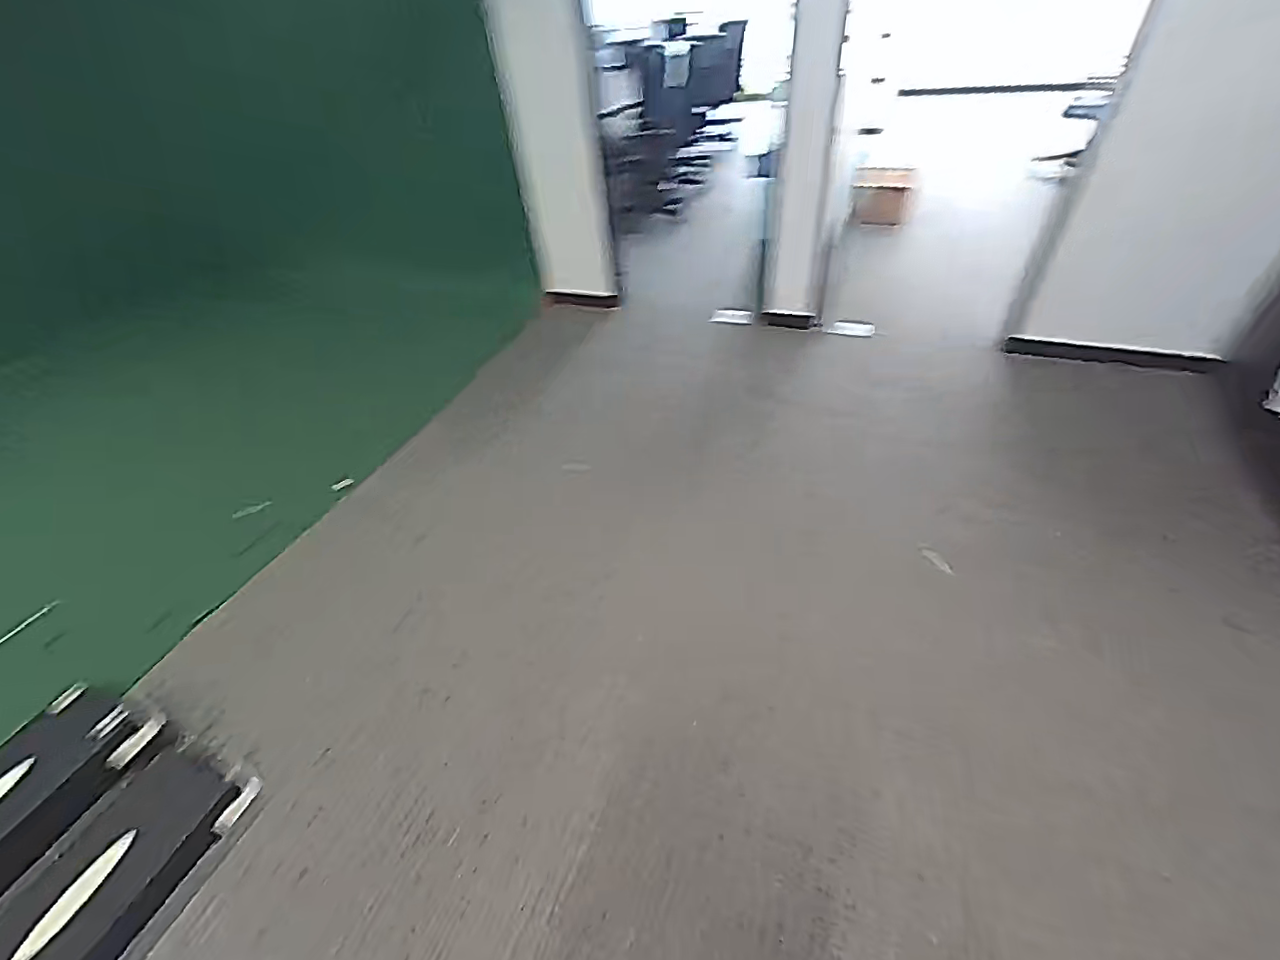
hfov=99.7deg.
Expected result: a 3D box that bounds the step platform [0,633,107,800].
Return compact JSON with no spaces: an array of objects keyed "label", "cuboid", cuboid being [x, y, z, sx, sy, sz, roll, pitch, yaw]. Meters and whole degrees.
[{"label":"step platform","cuboid":[-1.646,0.699,1.204,0.286,0.204,0.684,14,48,19]}]
